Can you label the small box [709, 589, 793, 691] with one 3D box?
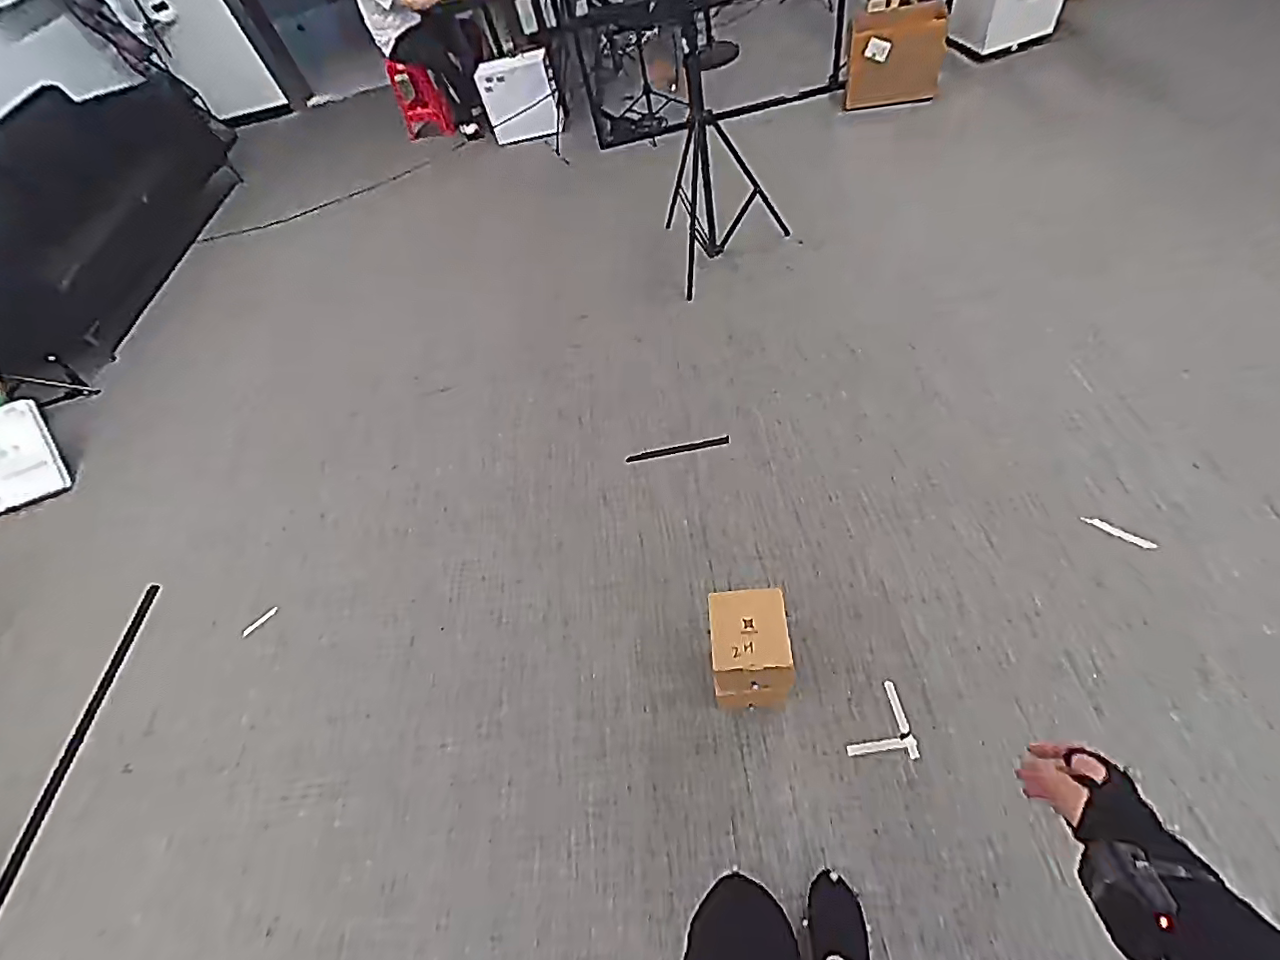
[{"bbox_3d":[0.247,0.364,1.221,0.168,0.176,0.179,-7,54,10],"label":"small box"}]
